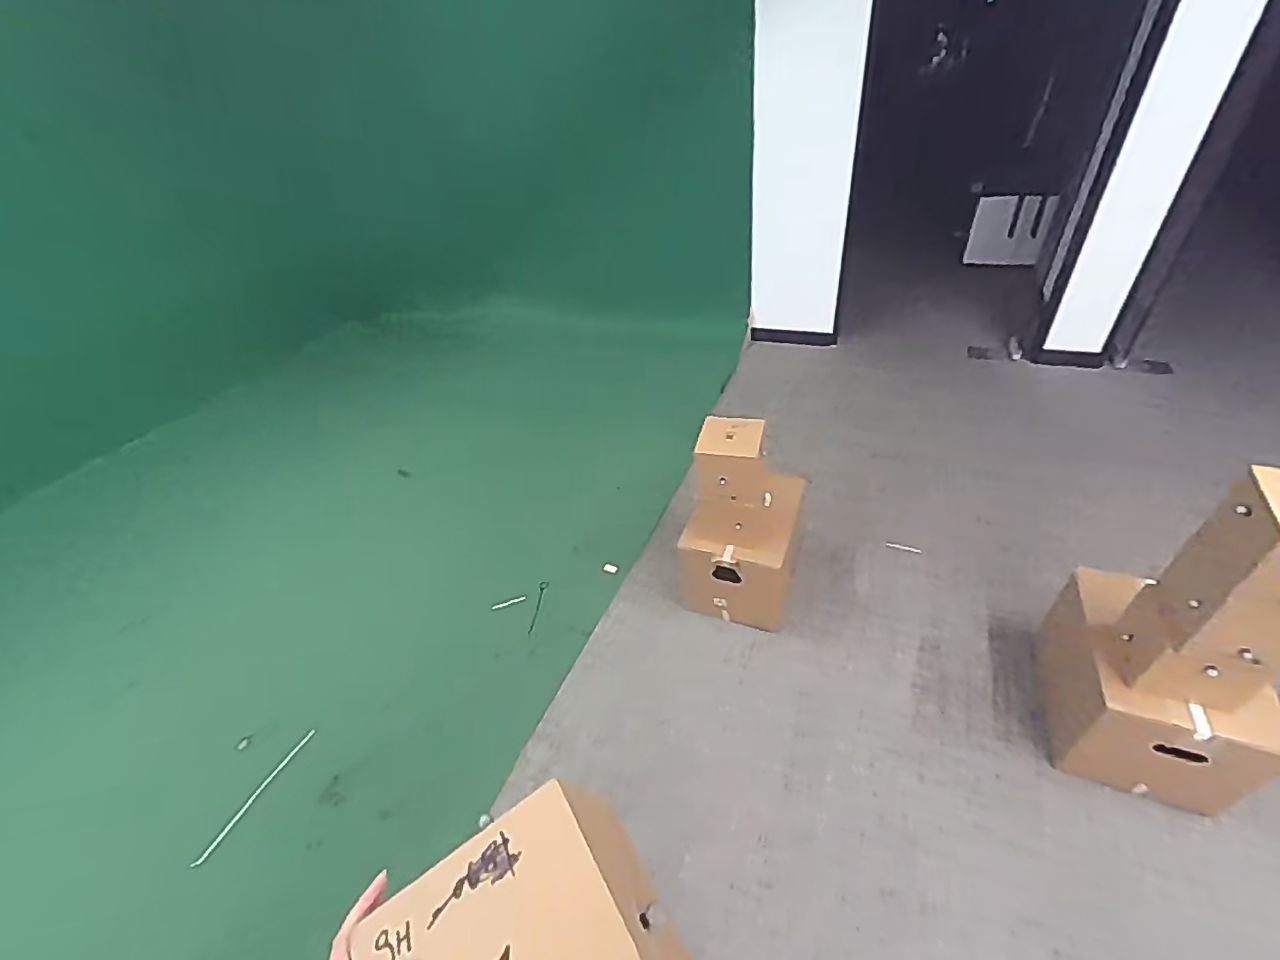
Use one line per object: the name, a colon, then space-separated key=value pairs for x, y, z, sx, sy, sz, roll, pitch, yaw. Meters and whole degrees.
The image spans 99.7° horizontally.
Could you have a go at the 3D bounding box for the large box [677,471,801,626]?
large box: x=0.337 y=0.207 z=1.789 sx=0.320 sy=0.320 sz=0.408 roll=11 pitch=43 yaw=21

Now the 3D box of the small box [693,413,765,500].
small box: x=0.249 y=-0.064 z=1.489 sx=0.168 sy=0.176 sz=0.179 roll=7 pitch=42 yaw=17

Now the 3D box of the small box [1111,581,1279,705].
small box: x=1.137 y=0.340 z=1.125 sx=0.179 sy=0.176 sz=0.168 roll=9 pitch=44 yaw=21

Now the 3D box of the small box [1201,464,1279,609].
small box: x=1.098 y=0.102 z=0.900 sx=0.168 sy=0.176 sz=0.179 roll=11 pitch=46 yaw=23

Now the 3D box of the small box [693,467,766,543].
small box: x=0.266 y=0.064 z=1.591 sx=0.179 sy=0.176 sz=0.168 roll=9 pitch=42 yaw=21
